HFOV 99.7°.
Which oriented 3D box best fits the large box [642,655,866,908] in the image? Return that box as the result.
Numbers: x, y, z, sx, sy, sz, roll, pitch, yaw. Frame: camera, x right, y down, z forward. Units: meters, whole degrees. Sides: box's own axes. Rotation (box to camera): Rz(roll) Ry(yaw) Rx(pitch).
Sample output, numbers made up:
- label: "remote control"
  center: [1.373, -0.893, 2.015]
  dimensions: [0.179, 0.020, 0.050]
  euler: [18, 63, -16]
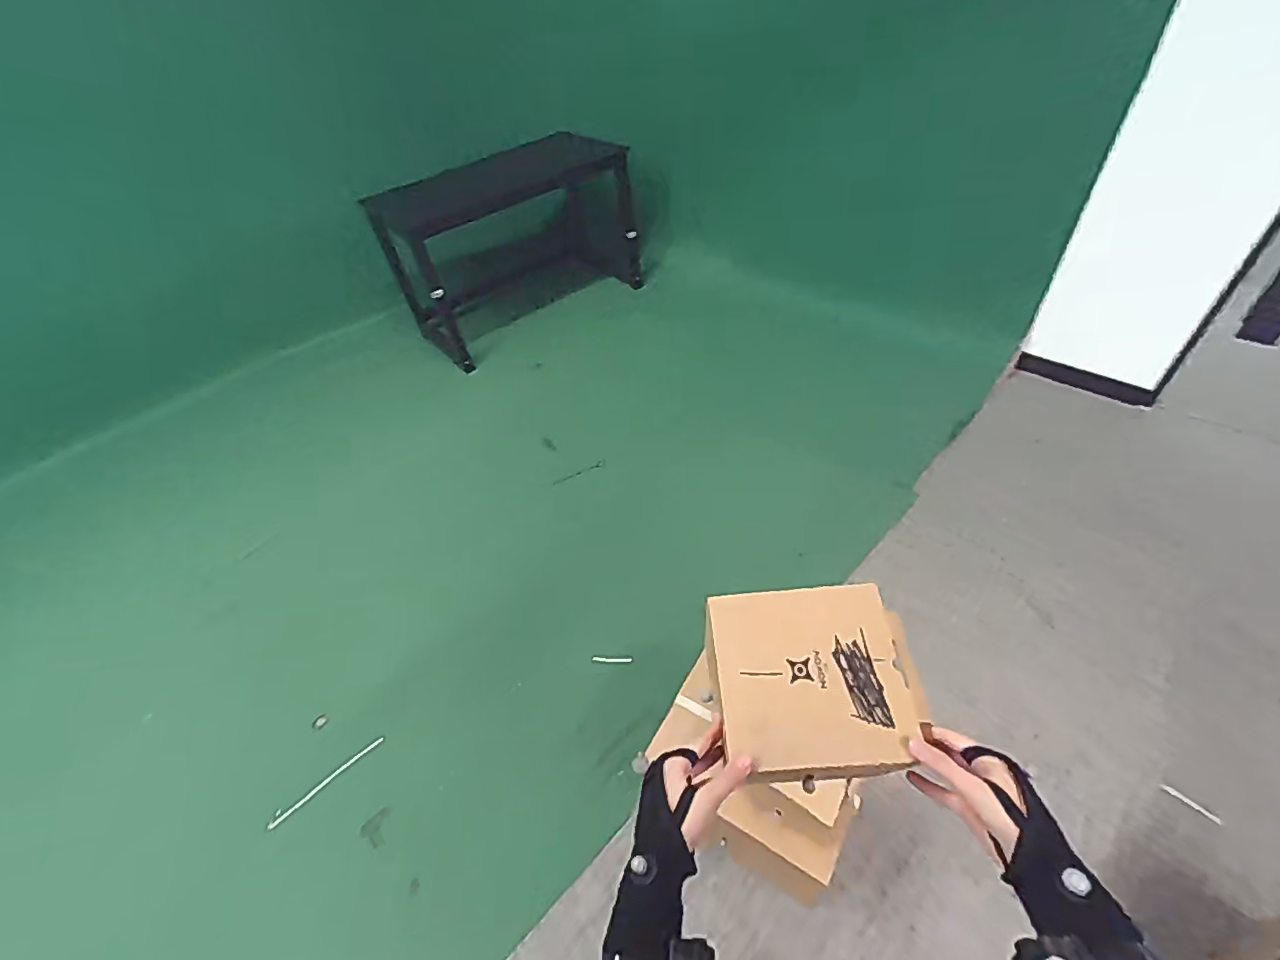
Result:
- label: "large box"
  center: [0.269, 0.668, 1.227]
  dimensions: [0.408, 0.320, 0.320]
  euler: [20, 51, 28]

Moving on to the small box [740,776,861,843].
- label: "small box"
  center: [0.301, 0.536, 1.004]
  dimensions: [0.179, 0.176, 0.168]
  euler: [25, 55, 29]

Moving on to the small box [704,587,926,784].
- label: "small box"
  center: [0.165, 0.225, 0.579]
  dimensions: [0.179, 0.176, 0.168]
  euler: [-5, 57, 3]
